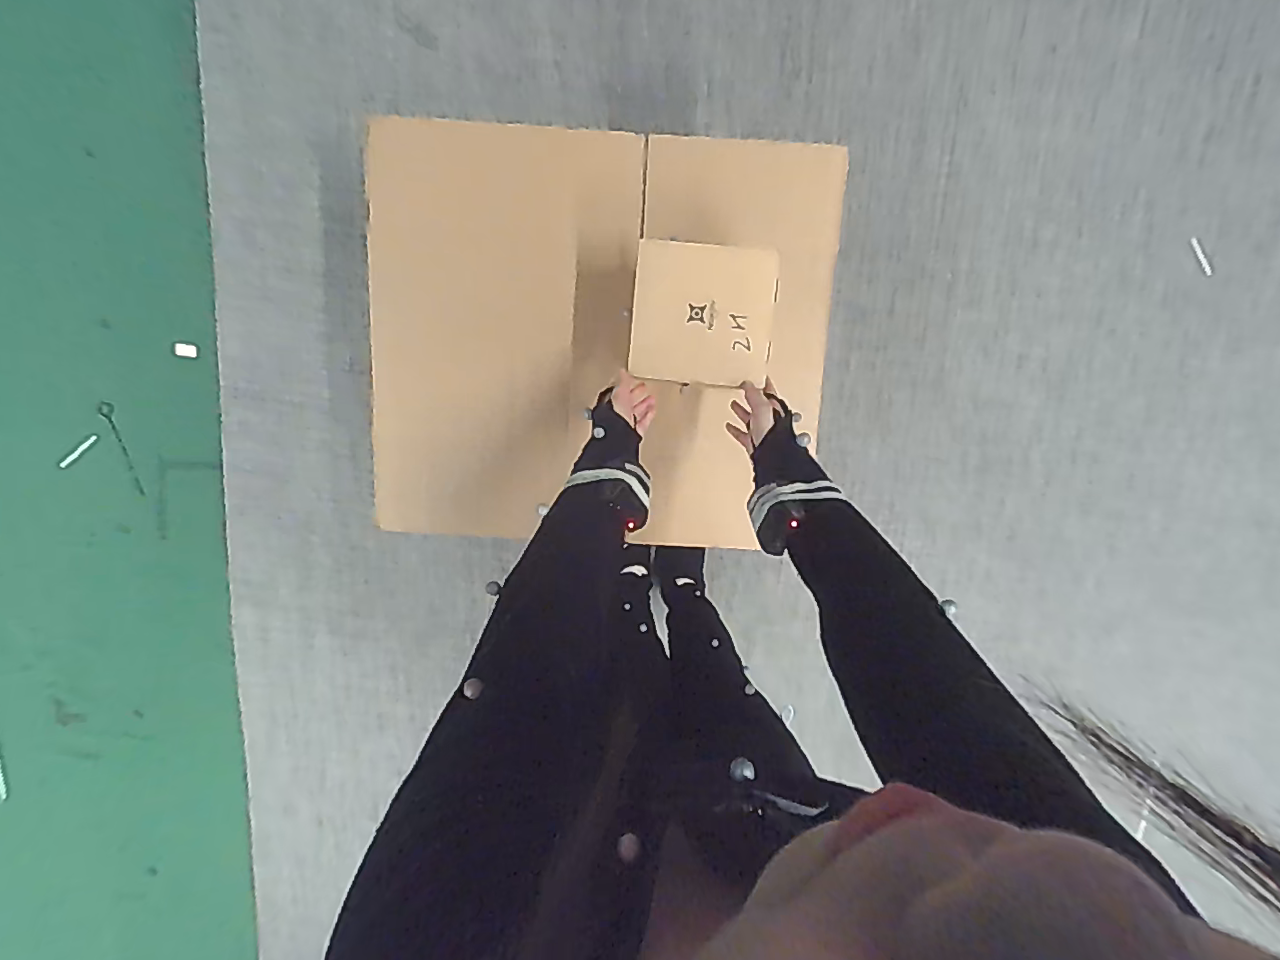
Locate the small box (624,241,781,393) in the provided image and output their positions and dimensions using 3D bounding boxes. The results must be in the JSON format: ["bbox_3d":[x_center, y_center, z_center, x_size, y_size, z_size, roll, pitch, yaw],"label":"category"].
[{"bbox_3d":[0.076,-0.210,0.738,0.179,0.176,0.168,6,99,0],"label":"small box"}]
